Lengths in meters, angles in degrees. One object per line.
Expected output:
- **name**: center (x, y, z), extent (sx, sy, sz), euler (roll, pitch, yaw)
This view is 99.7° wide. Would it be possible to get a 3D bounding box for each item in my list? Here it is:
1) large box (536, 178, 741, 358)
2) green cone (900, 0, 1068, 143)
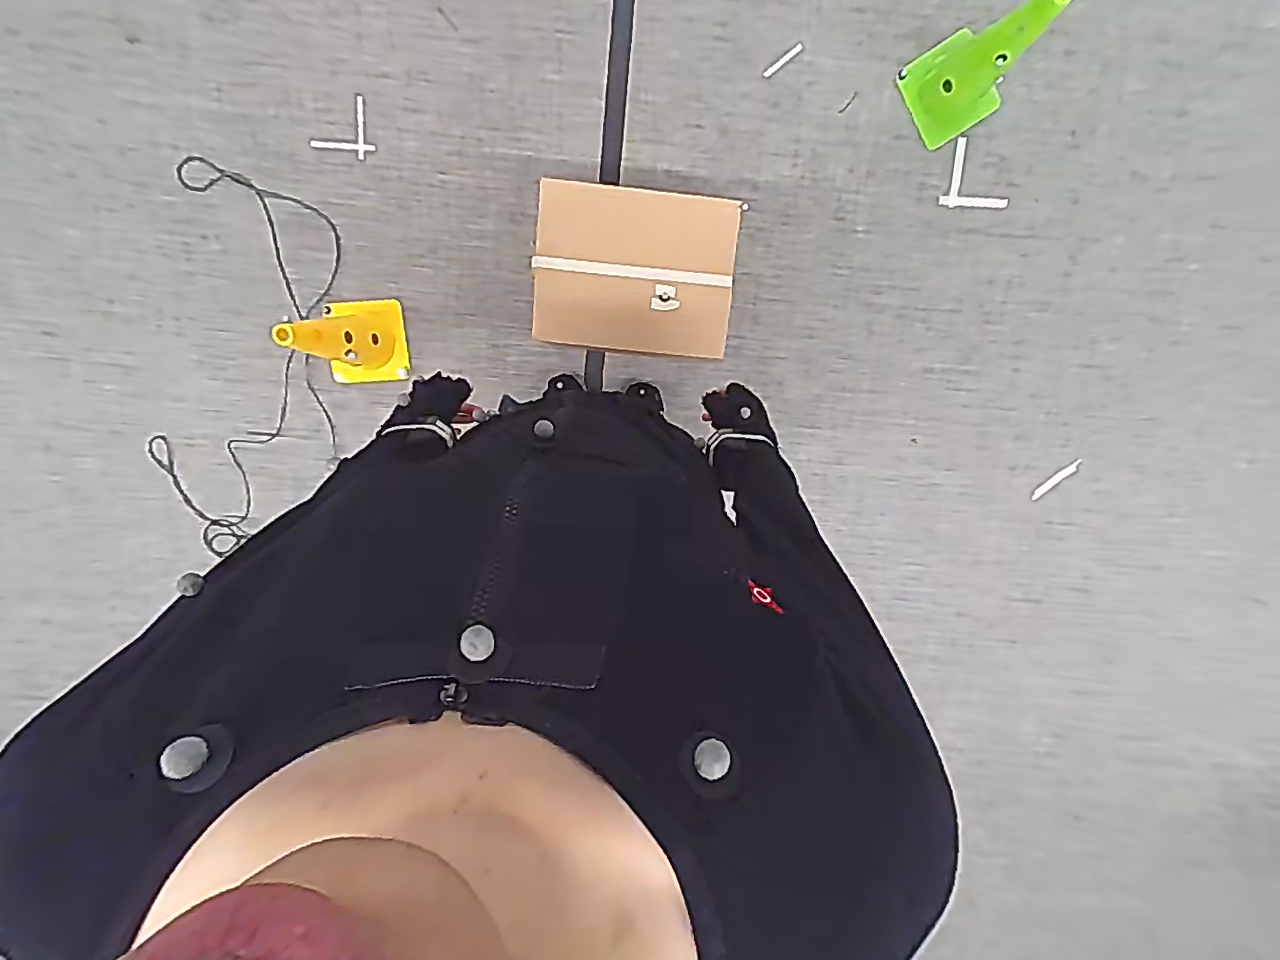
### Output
- **large box**: center (-0.014, -0.458, 1.245), extent (0.408, 0.320, 0.320), euler (5, 102, -3)
- **green cone**: center (0.752, -0.909, 1.125), extent (0.202, 0.368, 0.200), euler (-33, 102, 4)
